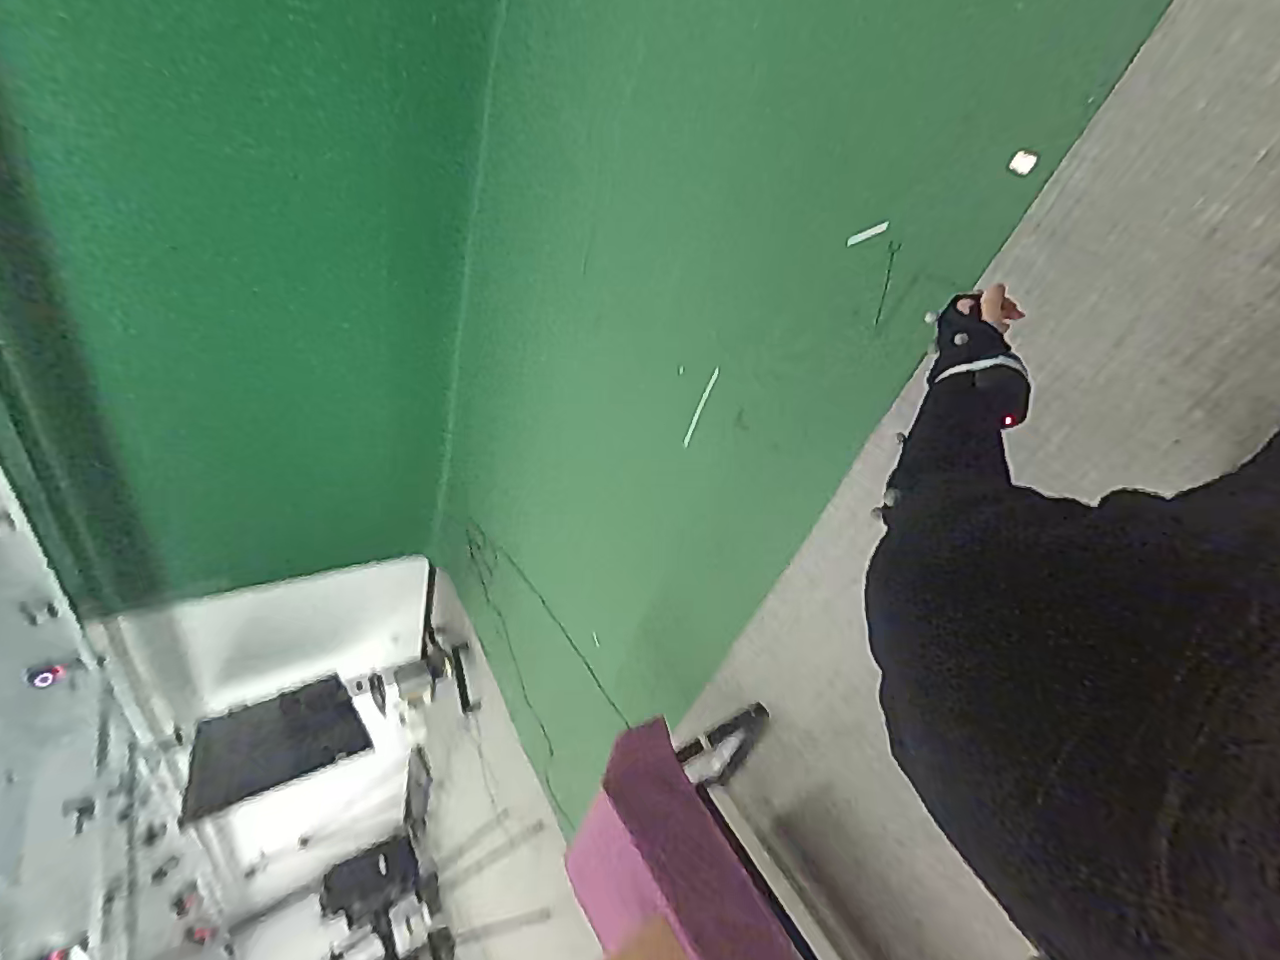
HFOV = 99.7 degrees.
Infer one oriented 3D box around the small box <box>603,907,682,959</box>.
[{"bbox_3d":[0.001,1.289,1.426,0.179,0.176,0.168,50,133,35],"label":"small box"}]
